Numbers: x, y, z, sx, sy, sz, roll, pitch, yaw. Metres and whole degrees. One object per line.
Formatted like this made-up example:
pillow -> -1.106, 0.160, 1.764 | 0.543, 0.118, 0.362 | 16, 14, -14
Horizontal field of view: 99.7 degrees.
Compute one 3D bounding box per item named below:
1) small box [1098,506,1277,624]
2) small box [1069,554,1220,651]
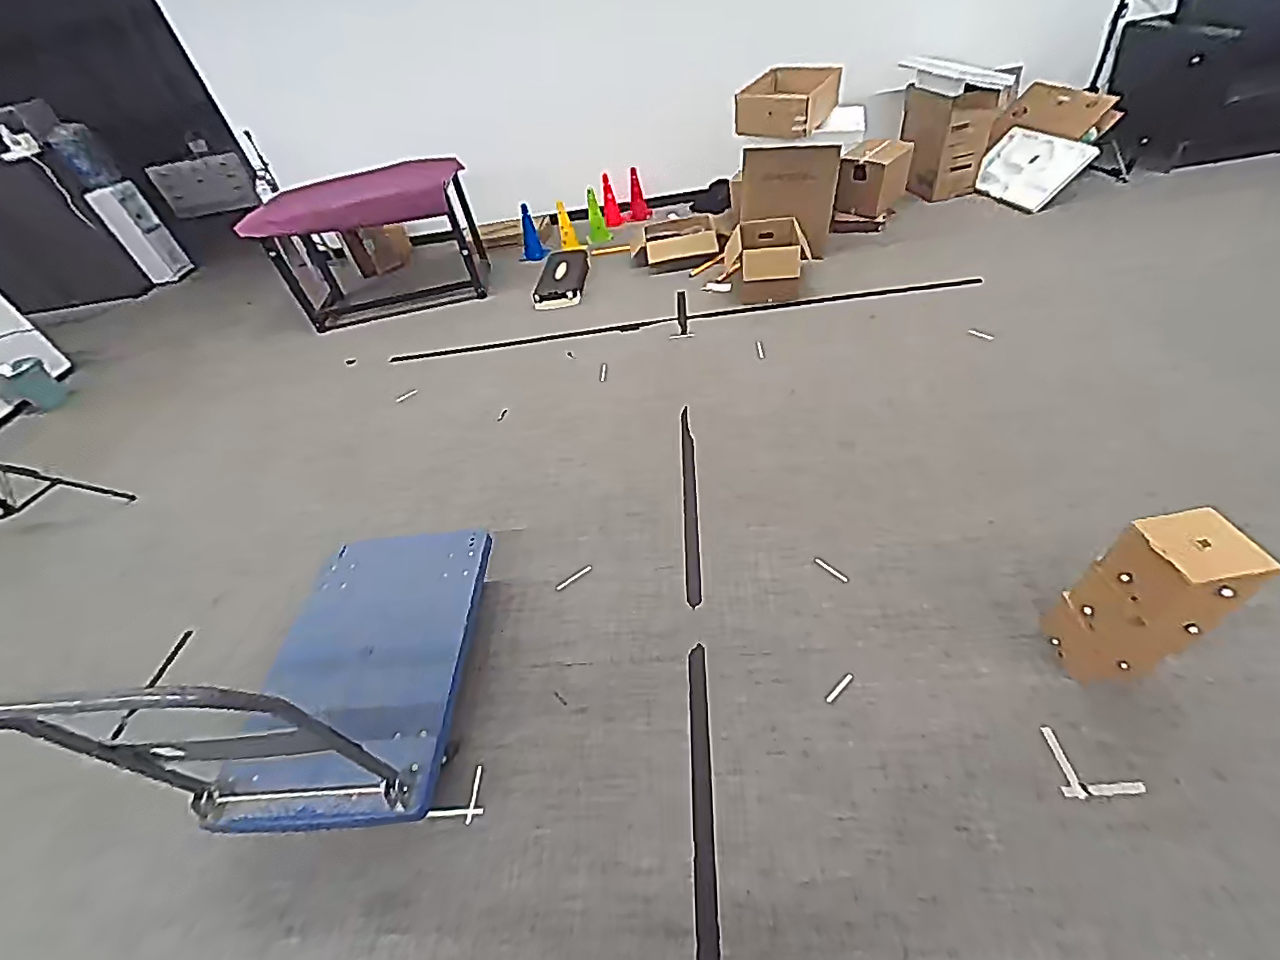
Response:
small box -> 1.148, 0.183, 1.154 | 0.179, 0.176, 0.168 | -11, 43, 2
small box -> 1.173, 0.290, 1.276 | 0.179, 0.176, 0.168 | -3, 43, 10
